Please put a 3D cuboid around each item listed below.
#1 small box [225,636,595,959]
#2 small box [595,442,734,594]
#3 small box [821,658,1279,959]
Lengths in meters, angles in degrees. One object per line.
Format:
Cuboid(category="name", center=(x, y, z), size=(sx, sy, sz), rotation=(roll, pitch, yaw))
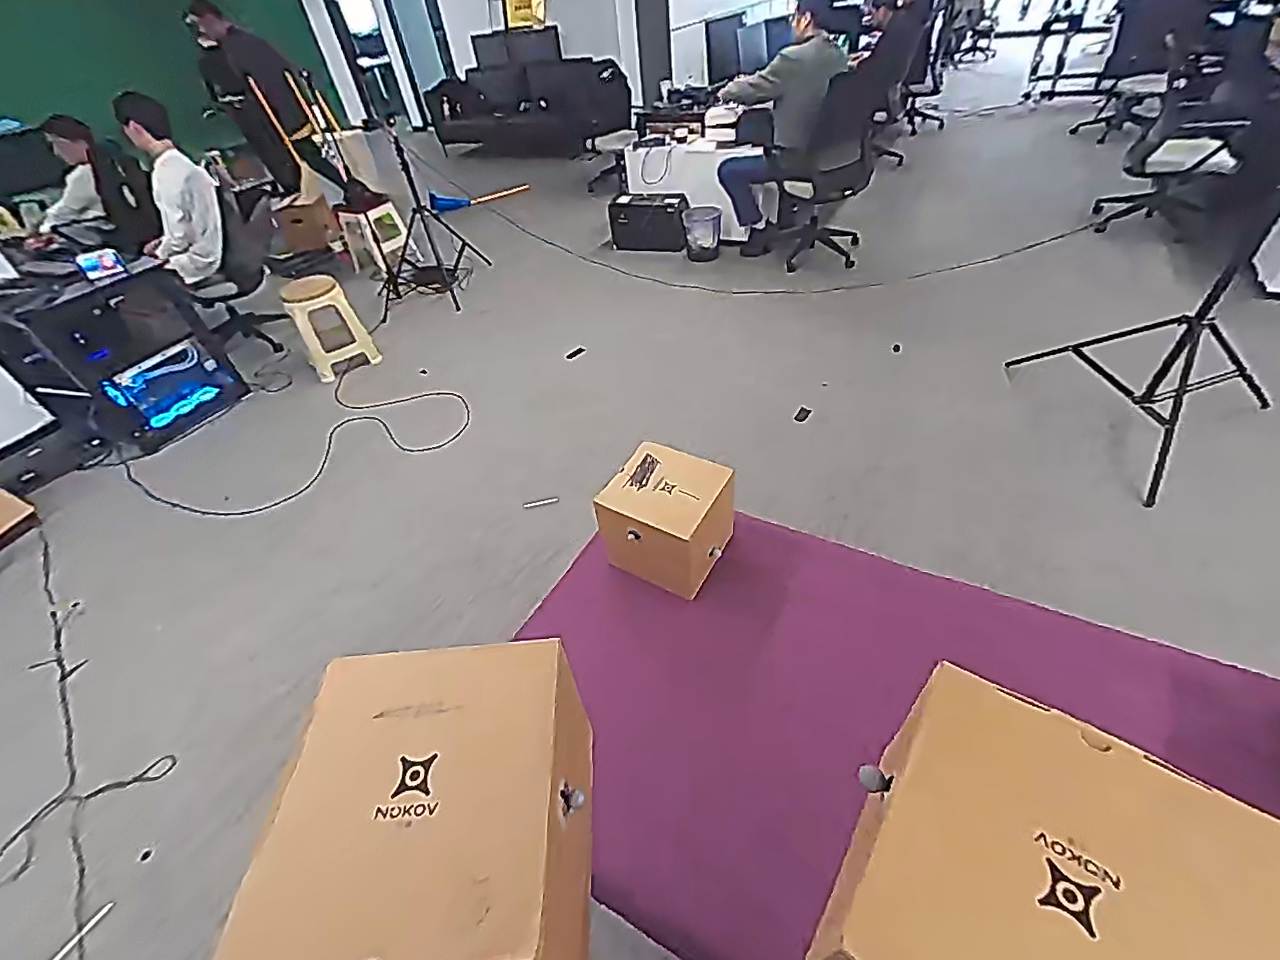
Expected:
Cuboid(category="small box", center=(-0.123, 0.235, 0.377), size=(0.168, 0.176, 0.179), rotation=(-5, 43, 0))
Cuboid(category="small box", center=(0.048, 0.067, 0.931), size=(0.179, 0.176, 0.168), rotation=(21, 52, 25))
Cuboid(category="small box", center=(0.221, 0.252, 0.323), size=(0.168, 0.176, 0.179), rotation=(23, 52, 29))
